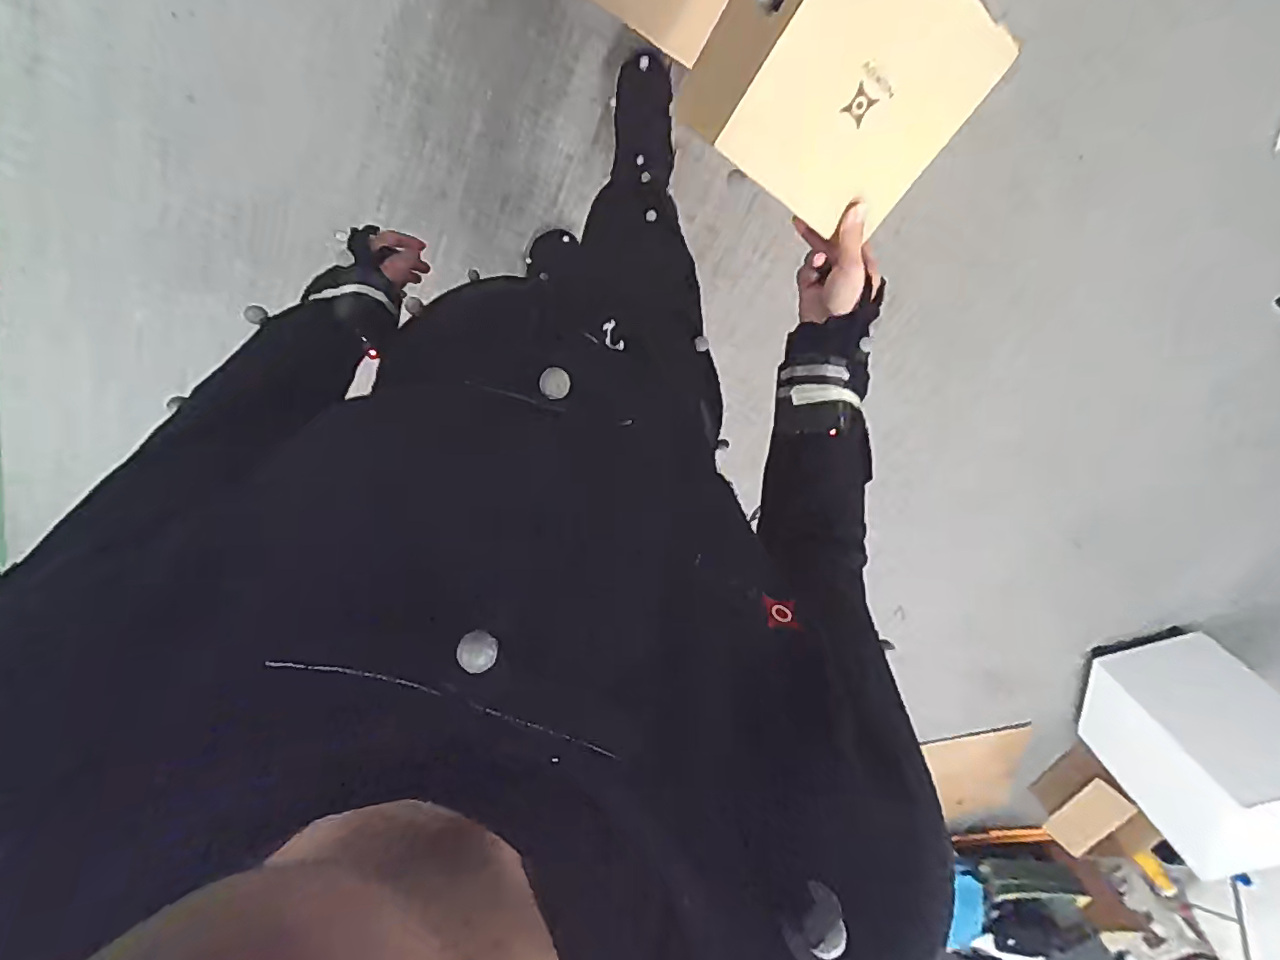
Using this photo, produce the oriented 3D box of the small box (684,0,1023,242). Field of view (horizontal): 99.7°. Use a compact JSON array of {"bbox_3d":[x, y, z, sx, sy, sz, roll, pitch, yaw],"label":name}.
[{"bbox_3d":[0.154,-0.343,0.456,0.168,0.176,0.179,21,122,-27],"label":"small box"}]
